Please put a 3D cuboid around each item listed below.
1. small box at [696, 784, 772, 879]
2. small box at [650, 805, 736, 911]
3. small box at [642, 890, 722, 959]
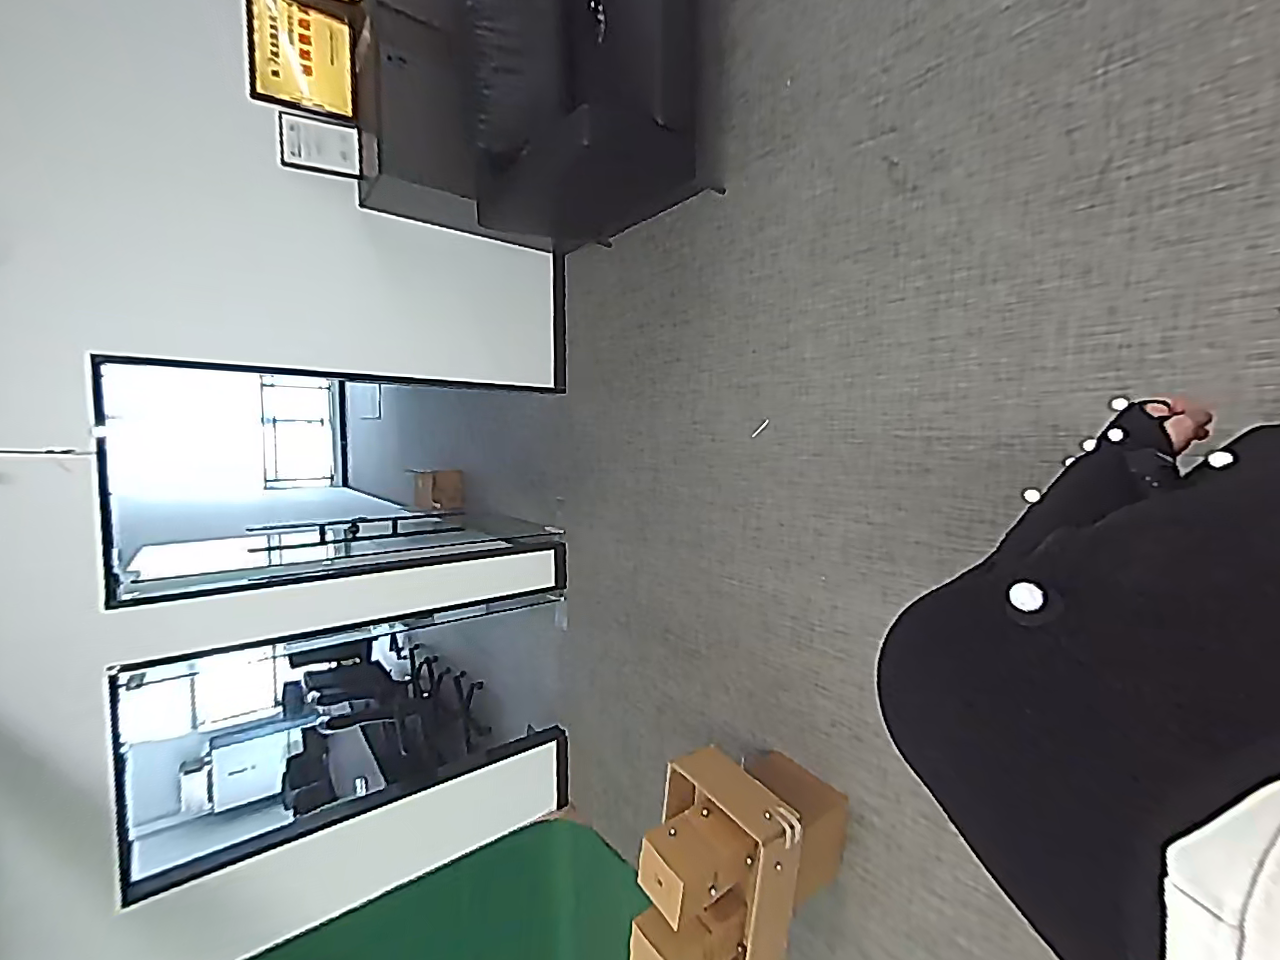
[{"bbox_3d":[0.283,1.091,1.698,0.179,0.176,0.168,25,112,50],"label":"small box"},{"bbox_3d":[0.154,1.103,1.600,0.179,0.176,0.168,23,111,50],"label":"small box"},{"bbox_3d":[0.127,1.388,1.656,0.179,0.176,0.168,14,104,52],"label":"small box"}]
